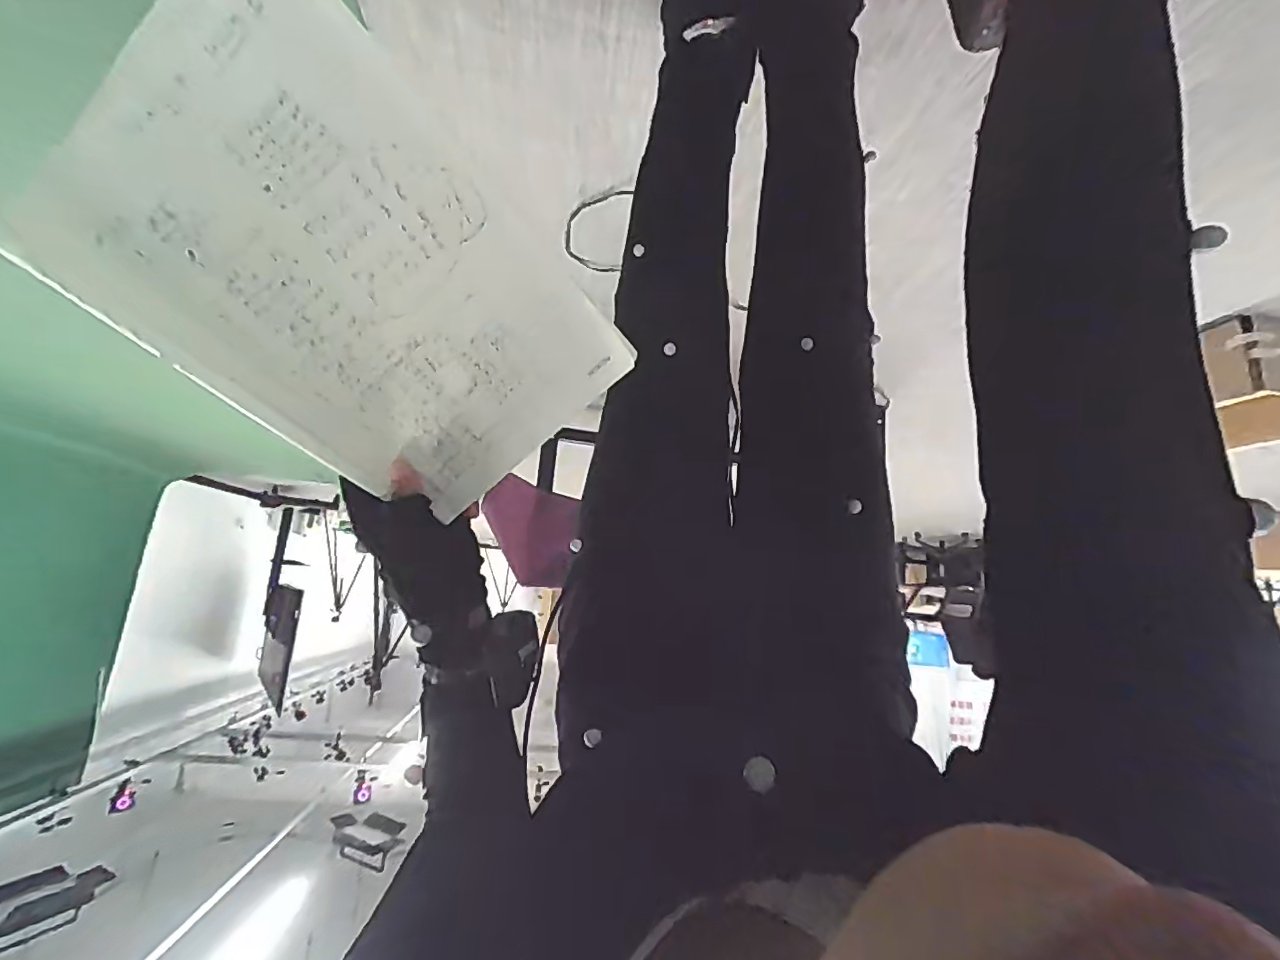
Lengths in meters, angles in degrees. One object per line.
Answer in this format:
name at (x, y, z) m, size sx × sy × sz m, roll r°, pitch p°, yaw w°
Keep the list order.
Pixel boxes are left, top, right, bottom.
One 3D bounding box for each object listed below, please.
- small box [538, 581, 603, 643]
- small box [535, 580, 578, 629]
small box at (-0.217, 0.411, 1.701) m, size 0.168 × 0.176 × 0.179 m, roll 8°, pitch 169°, yaw -18°
small box at (-0.271, 0.449, 1.916) m, size 0.168 × 0.176 × 0.179 m, roll 8°, pitch 169°, yaw -15°
